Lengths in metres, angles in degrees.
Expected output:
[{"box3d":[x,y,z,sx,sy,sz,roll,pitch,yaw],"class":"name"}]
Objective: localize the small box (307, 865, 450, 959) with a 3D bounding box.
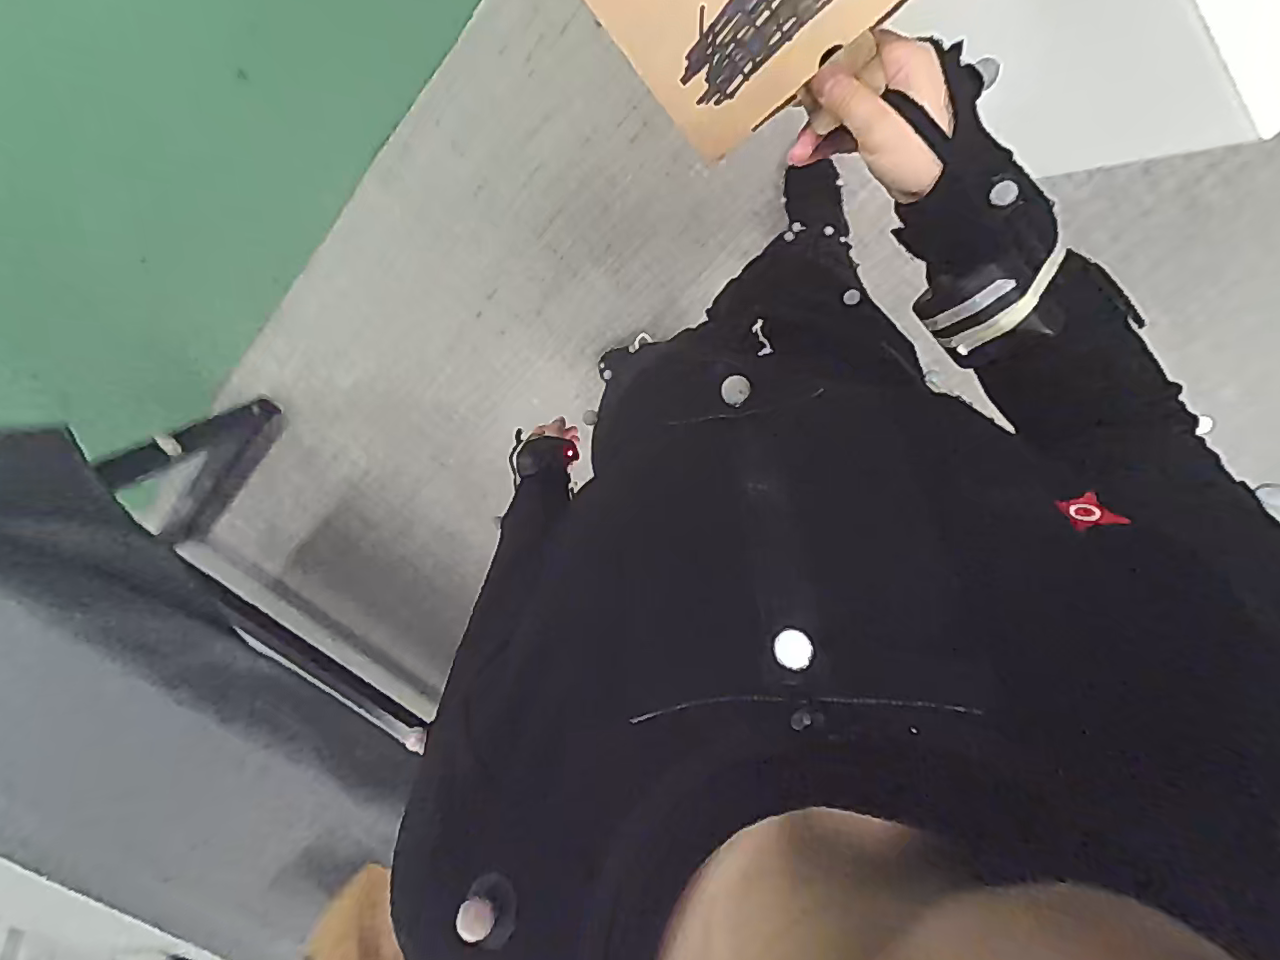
[{"box3d":[-0.454,0.807,0.918,0.168,0.176,0.179,37,110,-12],"class":"small box"}]
